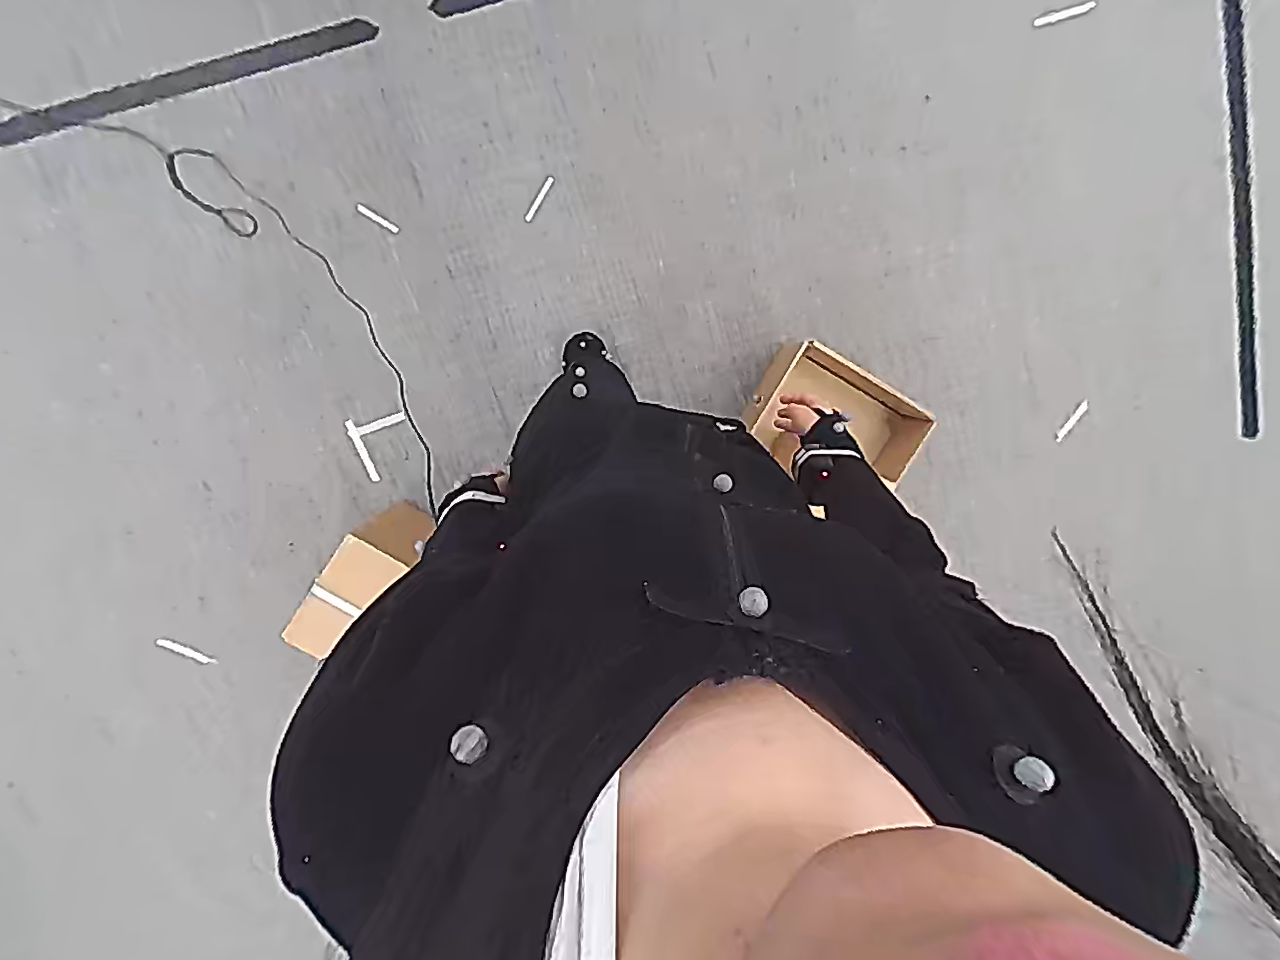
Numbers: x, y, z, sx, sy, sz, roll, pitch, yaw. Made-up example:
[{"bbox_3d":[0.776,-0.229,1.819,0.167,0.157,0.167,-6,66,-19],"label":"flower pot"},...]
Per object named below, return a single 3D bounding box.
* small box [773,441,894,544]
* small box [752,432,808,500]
[{"bbox_3d":[0.436,0.019,1.250,0.179,0.176,0.168,24,102,-9],"label":"small box"},{"bbox_3d":[0.421,-0.013,1.409,0.179,0.176,0.168,28,100,-9],"label":"small box"}]
